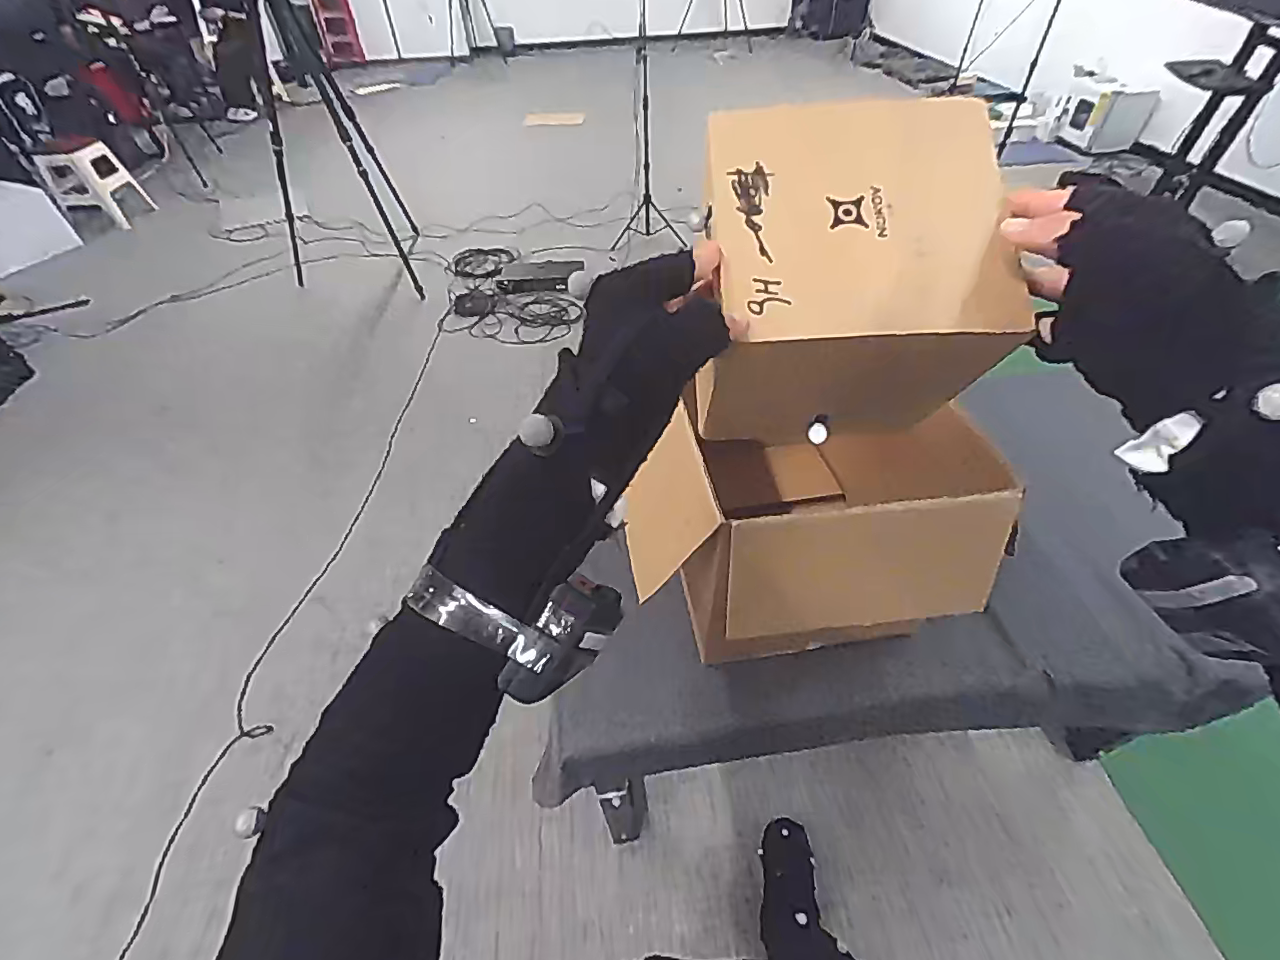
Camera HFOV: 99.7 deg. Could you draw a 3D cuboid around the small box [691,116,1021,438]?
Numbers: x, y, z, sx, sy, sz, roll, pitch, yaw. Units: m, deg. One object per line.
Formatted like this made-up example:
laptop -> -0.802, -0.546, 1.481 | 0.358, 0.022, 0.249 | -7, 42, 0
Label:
small box -> 0.135, -0.135, 0.409 | 0.179, 0.176, 0.168 | -1, 75, 1
